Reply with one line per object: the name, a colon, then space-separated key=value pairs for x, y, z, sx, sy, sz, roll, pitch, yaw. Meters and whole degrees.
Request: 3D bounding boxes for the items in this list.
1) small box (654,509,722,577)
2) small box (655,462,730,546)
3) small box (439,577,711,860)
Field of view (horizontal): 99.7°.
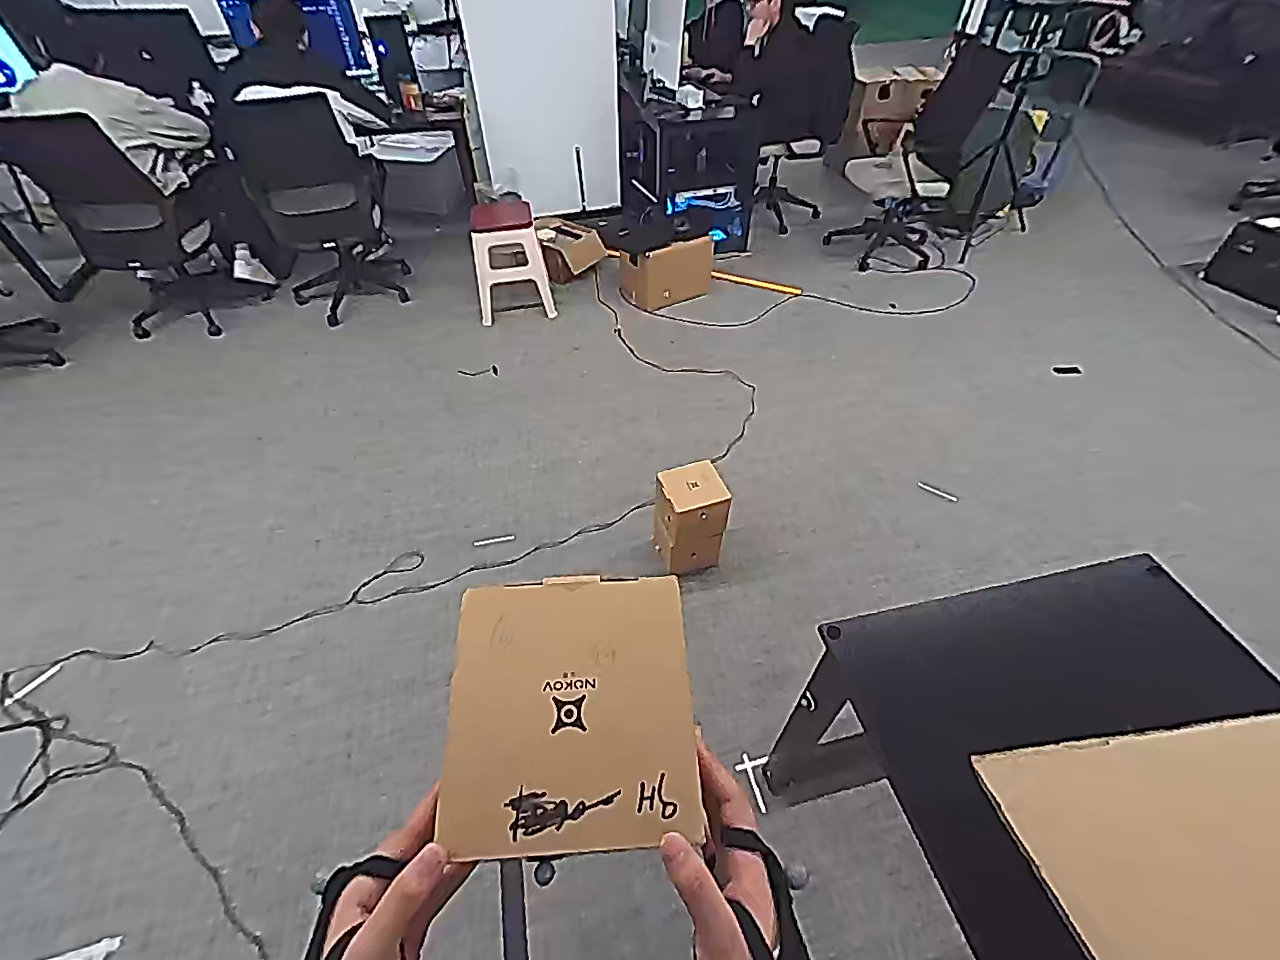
small box: x=0.150 y=0.190 z=1.761 sx=0.179 sy=0.176 sz=0.168 roll=-13 pitch=48 yaw=-10
small box: x=0.154 y=0.077 z=1.645 sx=0.179 sy=0.176 sz=0.168 roll=-15 pitch=49 yaw=-14
small box: x=-0.043 y=0.195 z=0.435 sx=0.168 sy=0.176 sz=0.179 roll=-3 pitch=56 yaw=-2
